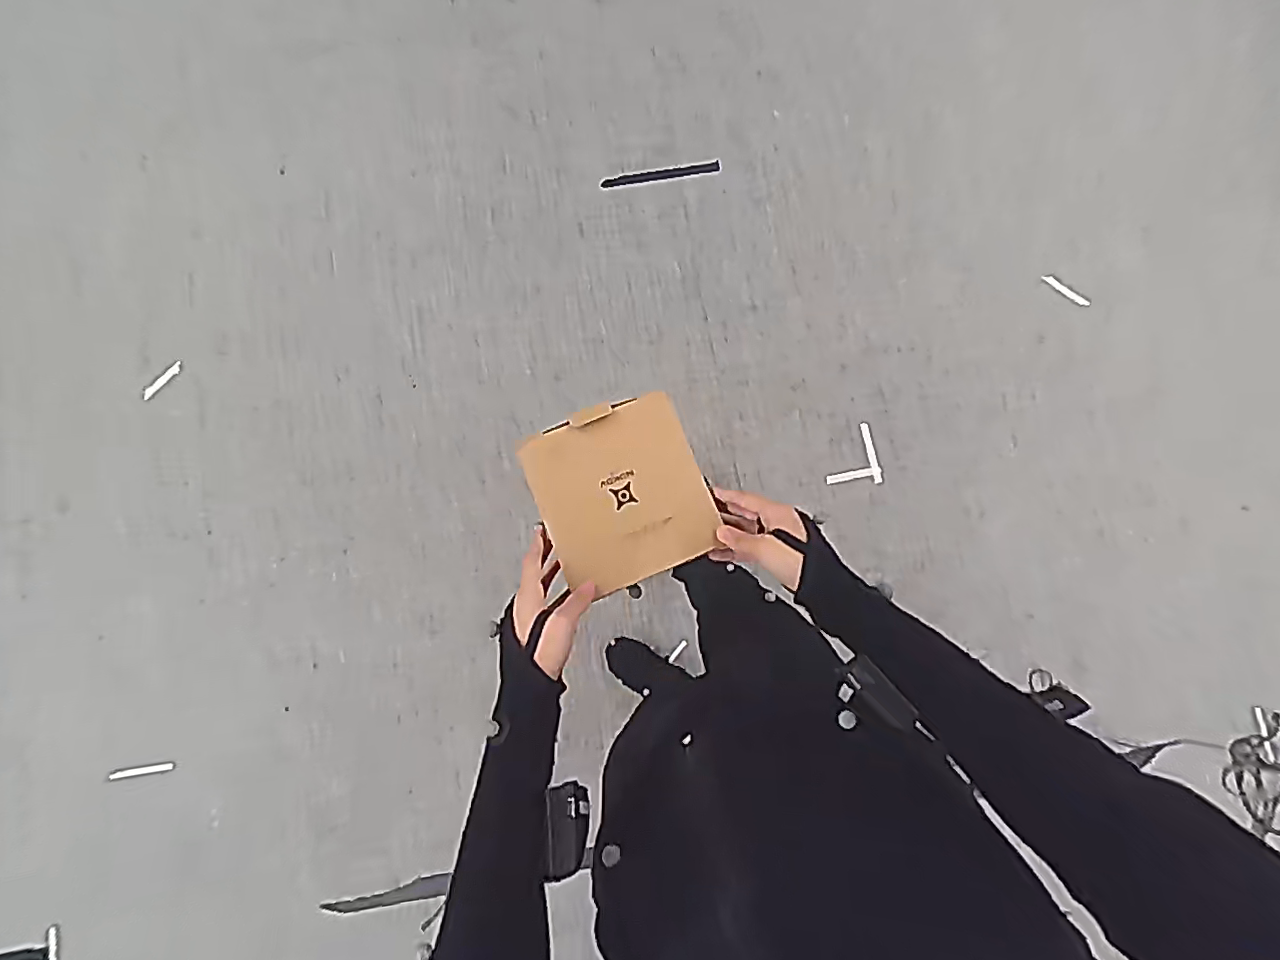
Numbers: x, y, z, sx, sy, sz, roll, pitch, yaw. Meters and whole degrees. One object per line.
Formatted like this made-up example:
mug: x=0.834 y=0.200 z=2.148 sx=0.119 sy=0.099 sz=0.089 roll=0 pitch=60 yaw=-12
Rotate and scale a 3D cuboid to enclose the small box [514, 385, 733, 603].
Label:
small box: x=-0.024 y=0.027 z=0.597 sx=0.168 sy=0.176 sz=0.179 roll=-22 pitch=80 yaw=-9
